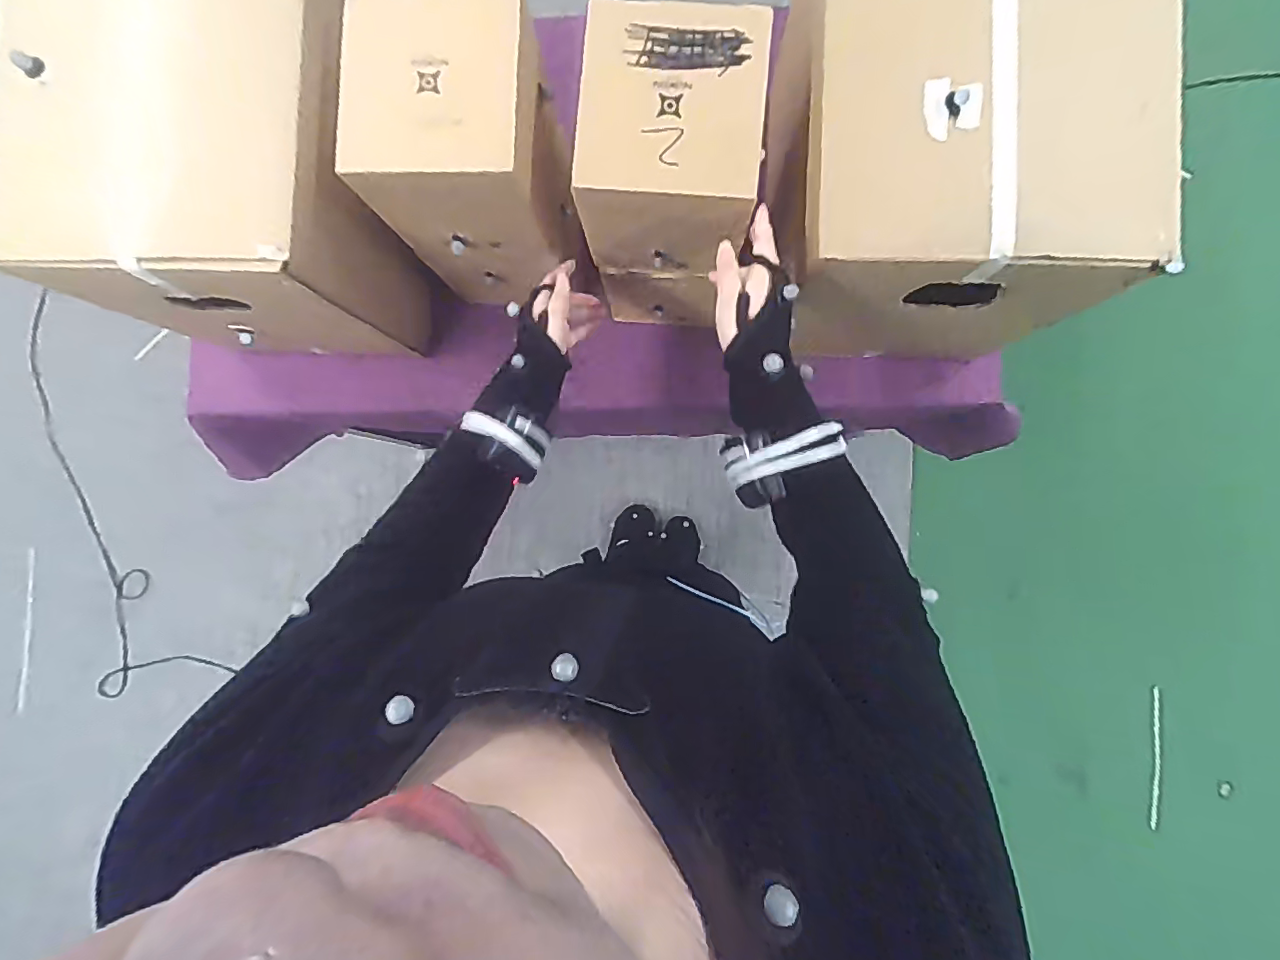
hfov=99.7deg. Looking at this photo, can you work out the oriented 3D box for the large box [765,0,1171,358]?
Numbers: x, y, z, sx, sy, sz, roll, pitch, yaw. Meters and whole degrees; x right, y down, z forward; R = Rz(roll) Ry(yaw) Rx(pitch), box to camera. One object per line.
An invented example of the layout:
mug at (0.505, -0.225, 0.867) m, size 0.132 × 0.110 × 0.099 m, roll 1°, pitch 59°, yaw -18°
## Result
large box at (0.338, -0.387, 0.649) m, size 0.320 × 0.320 × 0.408 m, roll 3°, pitch 88°, yaw 2°
